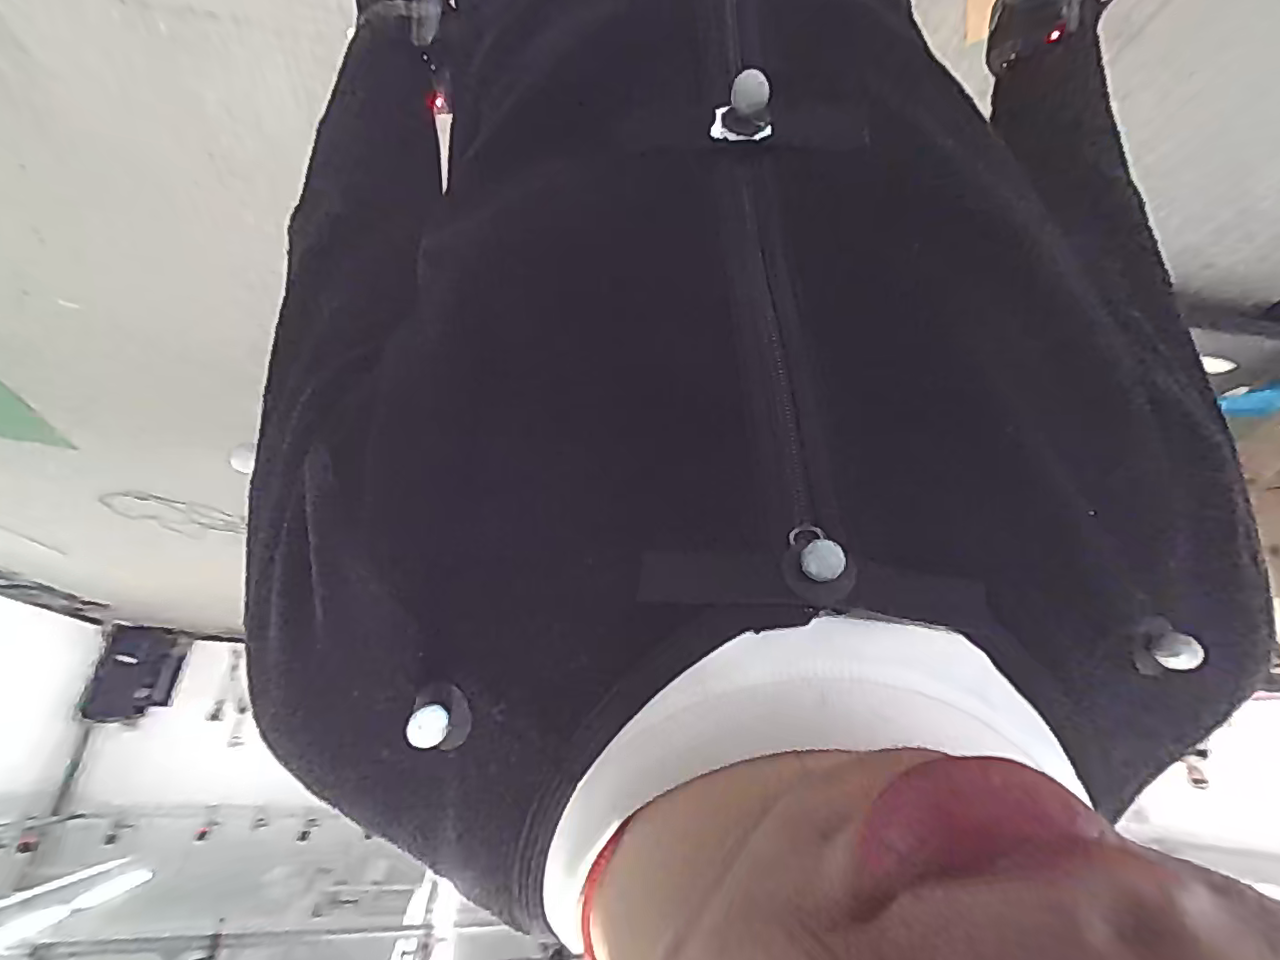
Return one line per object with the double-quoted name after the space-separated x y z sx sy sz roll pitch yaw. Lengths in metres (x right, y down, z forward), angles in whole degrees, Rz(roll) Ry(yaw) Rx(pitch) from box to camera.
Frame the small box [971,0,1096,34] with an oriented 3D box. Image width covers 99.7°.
0.419 -0.590 0.526 0.168 0.179 0.176 -1 -177 31 "small box"
